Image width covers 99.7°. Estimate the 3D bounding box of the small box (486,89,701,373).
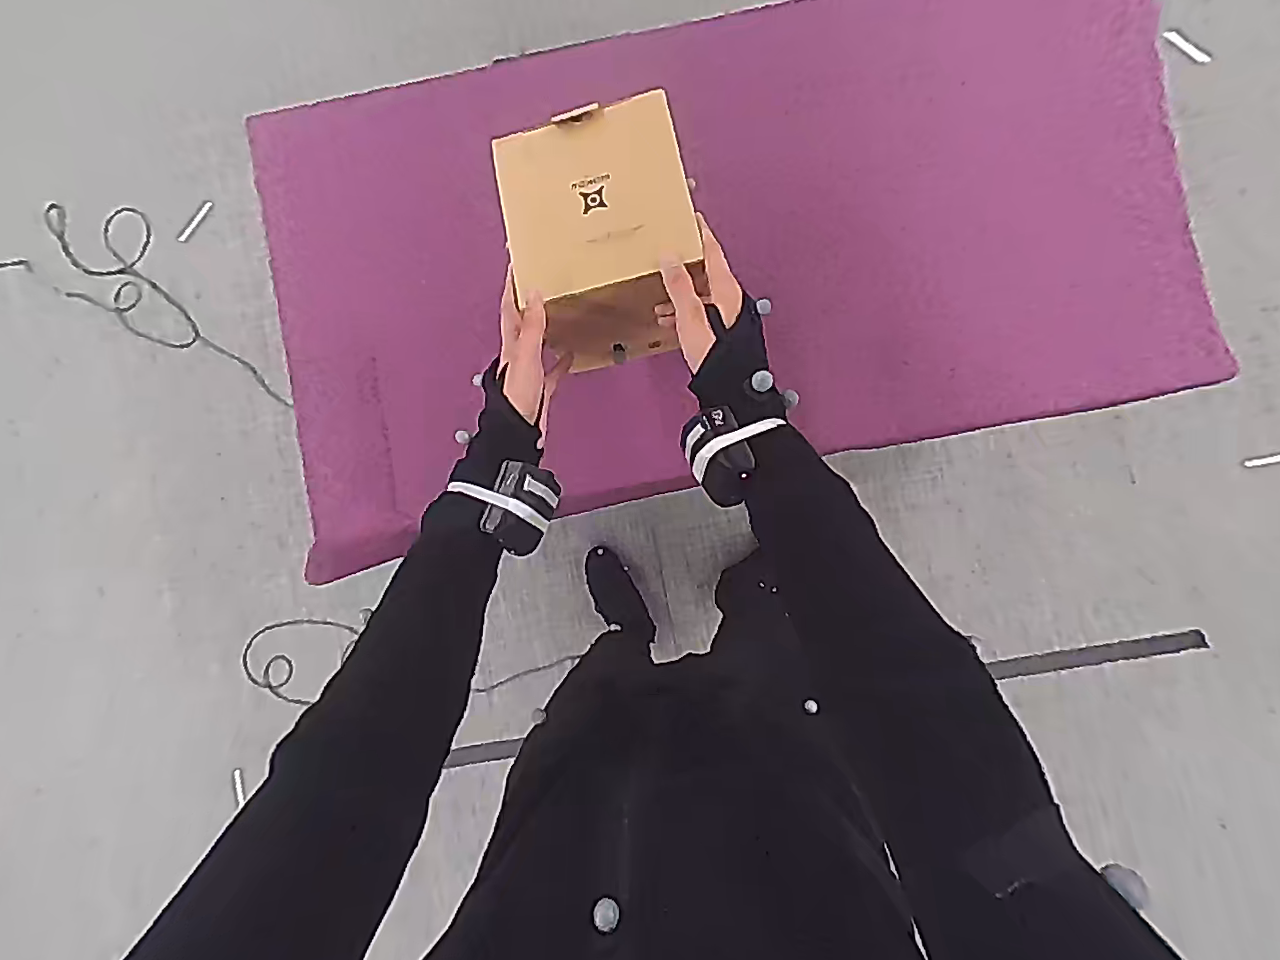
[{"bbox_3d":[-0.036,-0.231,0.543,0.168,0.176,0.179,-12,79,6],"label":"small box"}]
